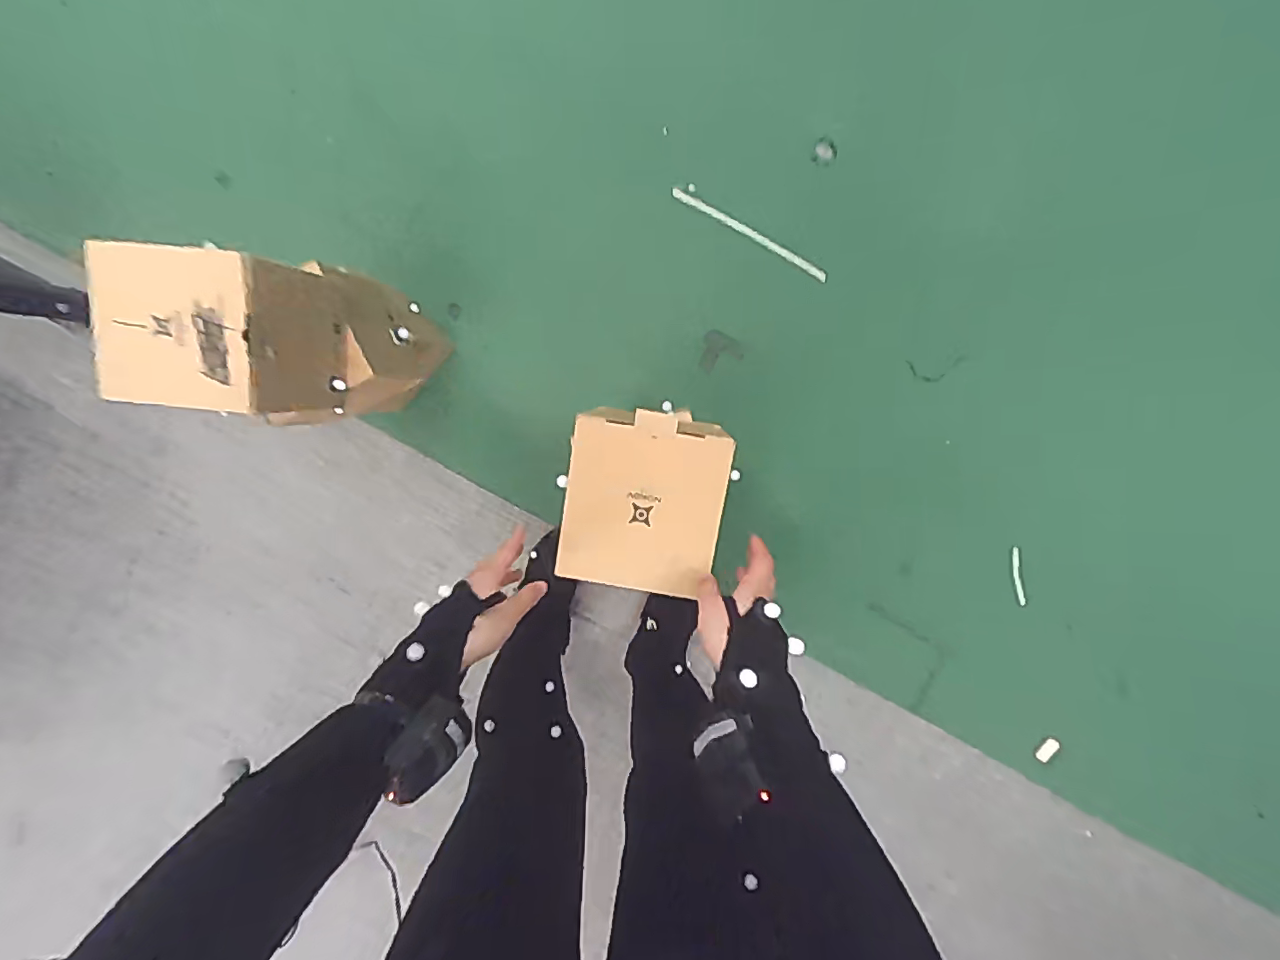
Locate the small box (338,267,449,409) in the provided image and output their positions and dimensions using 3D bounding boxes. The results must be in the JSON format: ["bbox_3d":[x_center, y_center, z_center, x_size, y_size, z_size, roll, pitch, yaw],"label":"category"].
[{"bbox_3d":[-0.476,-0.238,0.960,0.168,0.176,0.179,45,99,-5],"label":"small box"}]

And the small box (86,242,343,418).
[{"bbox_3d":[-0.479,-0.169,0.640,0.179,0.176,0.168,6,101,4],"label":"small box"}]

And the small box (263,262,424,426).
[{"bbox_3d":[-0.461,-0.192,0.802,0.179,0.176,0.168,-24,98,7],"label":"small box"}]

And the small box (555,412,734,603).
[{"bbox_3d":[0.008,0.020,0.638,0.168,0.176,0.179,9,100,2],"label":"small box"}]
